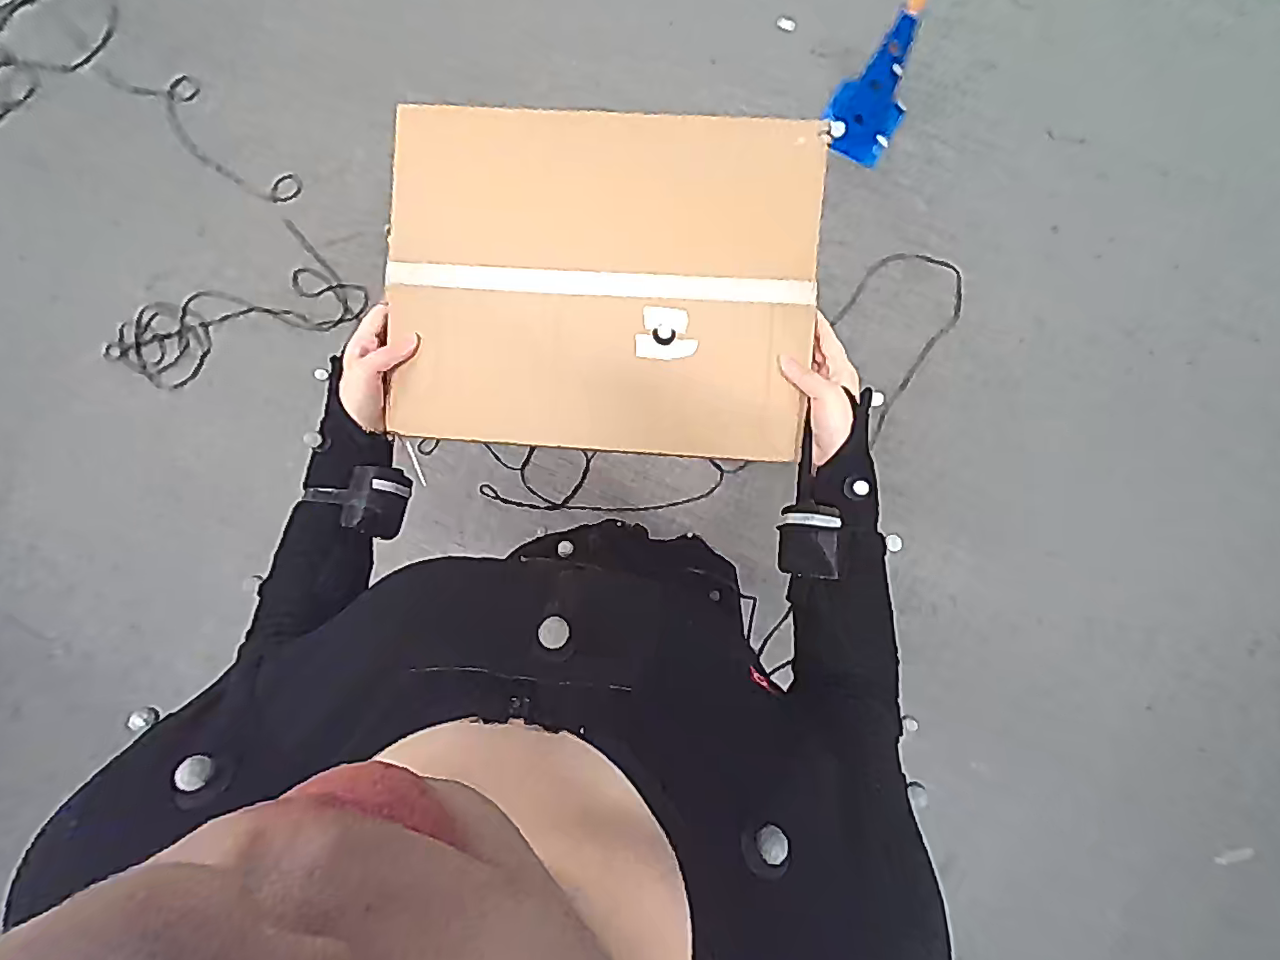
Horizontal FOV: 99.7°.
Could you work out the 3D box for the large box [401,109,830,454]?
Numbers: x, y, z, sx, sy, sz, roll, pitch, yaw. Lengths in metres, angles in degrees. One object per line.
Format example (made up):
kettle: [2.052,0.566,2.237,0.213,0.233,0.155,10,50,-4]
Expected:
large box: [-0.026,-0.198,0.667,0.408,0.320,0.320,5,94,2]

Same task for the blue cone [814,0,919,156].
blue cone: [0.595,-1.027,1.358,0.193,0.380,0.192,31,89,4]
